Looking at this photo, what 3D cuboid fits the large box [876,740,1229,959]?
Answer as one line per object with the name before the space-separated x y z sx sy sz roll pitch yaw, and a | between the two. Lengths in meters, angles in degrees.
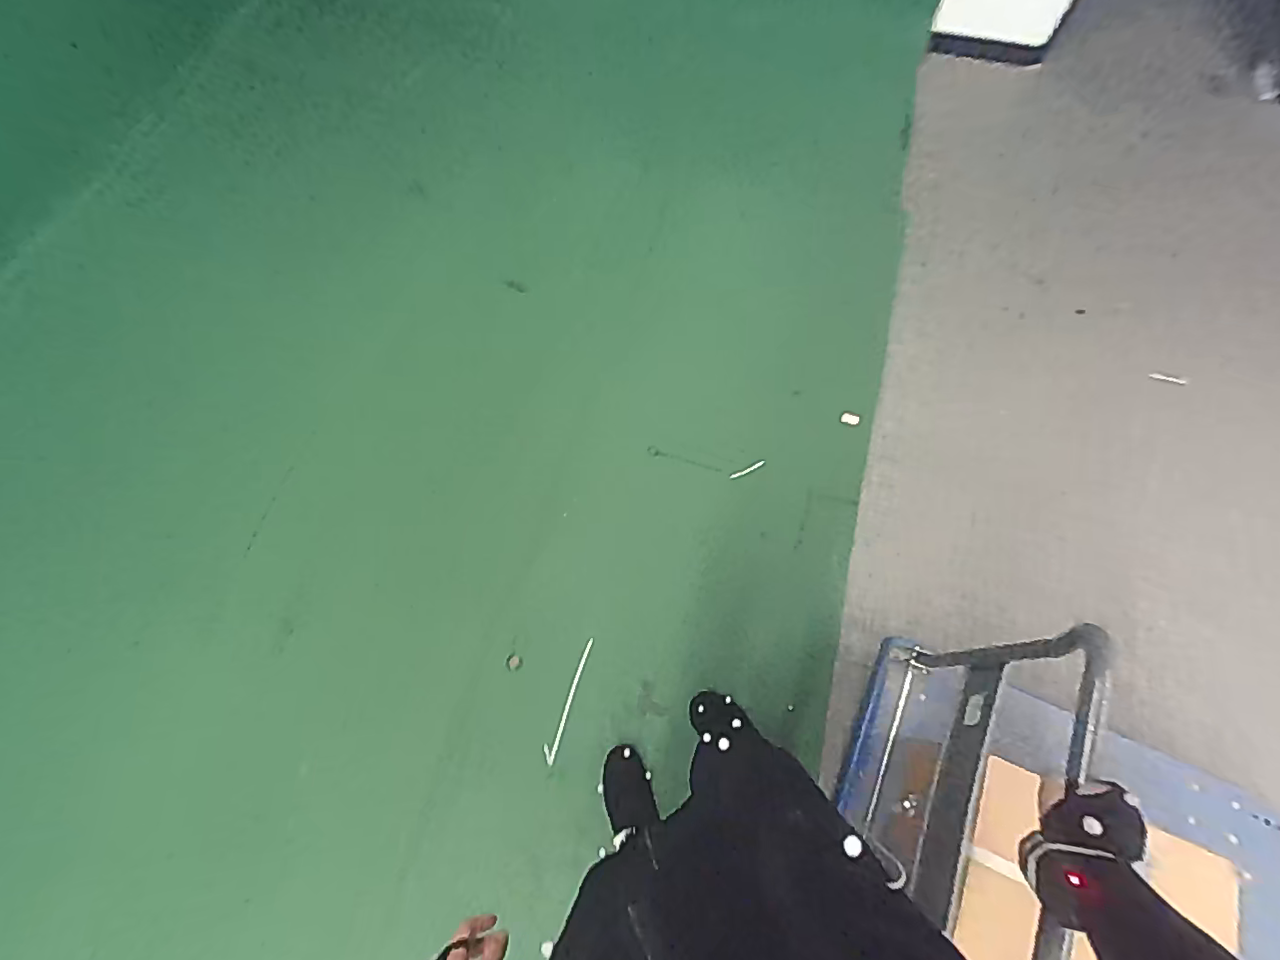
large box | 0.721 0.727 1.003 0.408 0.320 0.320 22 71 8
